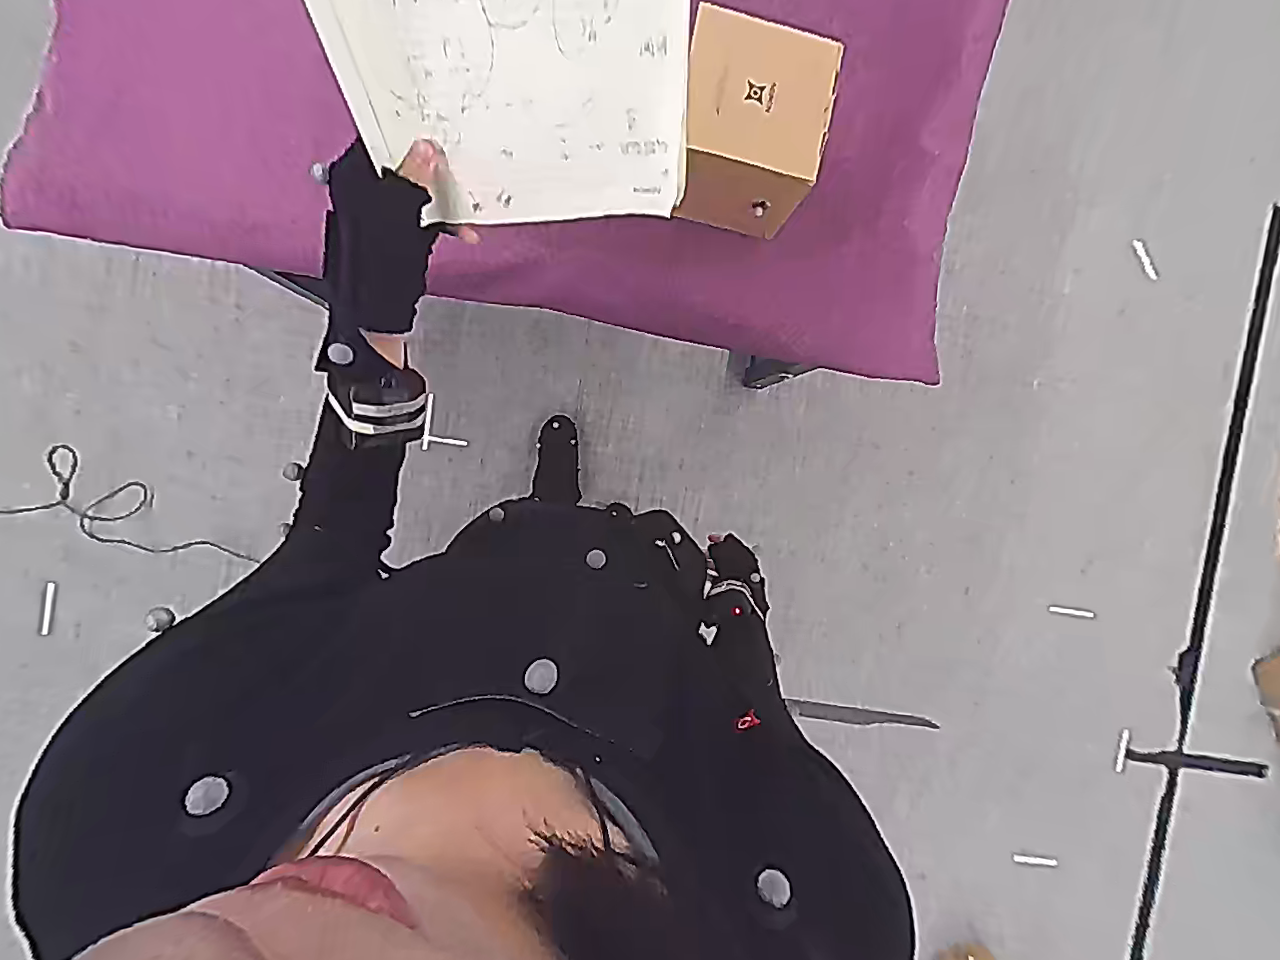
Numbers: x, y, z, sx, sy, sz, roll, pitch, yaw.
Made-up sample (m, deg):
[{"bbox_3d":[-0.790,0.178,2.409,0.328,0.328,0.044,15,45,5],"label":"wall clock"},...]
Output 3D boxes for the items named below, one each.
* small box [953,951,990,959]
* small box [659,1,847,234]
[{"bbox_3d":[1.028,1.572,1.607,0.168,0.176,0.179,-13,93,-5],"label":"small box"},{"bbox_3d":[0.131,-0.441,0.691,0.179,0.176,0.168,12,90,-4],"label":"small box"}]
